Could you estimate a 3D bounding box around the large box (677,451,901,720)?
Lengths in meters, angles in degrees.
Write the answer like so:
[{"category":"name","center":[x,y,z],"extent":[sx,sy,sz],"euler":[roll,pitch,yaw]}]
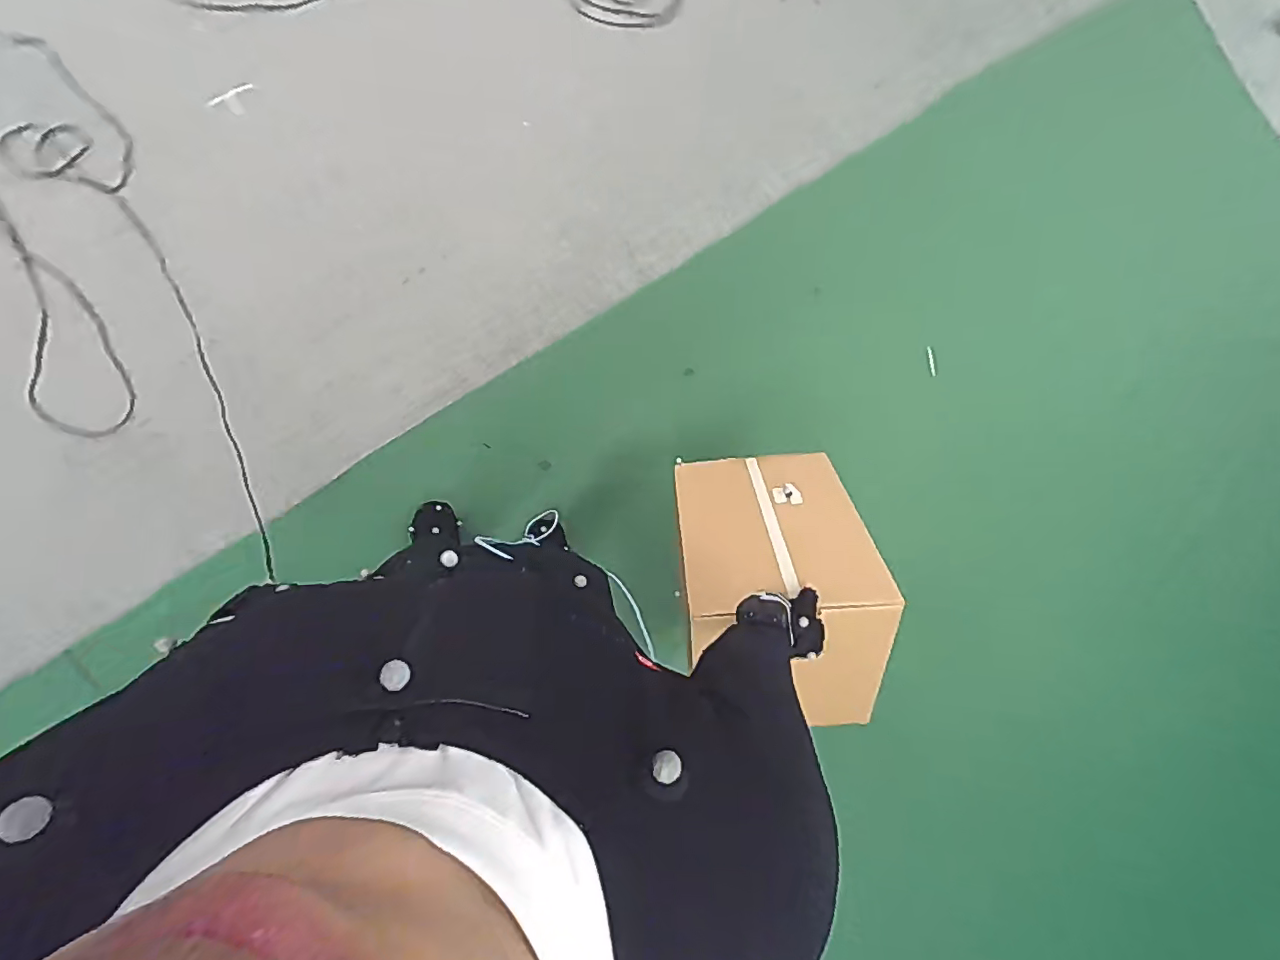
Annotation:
[{"category":"large box","center":[0.247,0.188,1.045],"extent":[0.320,0.408,0.320],"euler":[-4,125,2]}]
